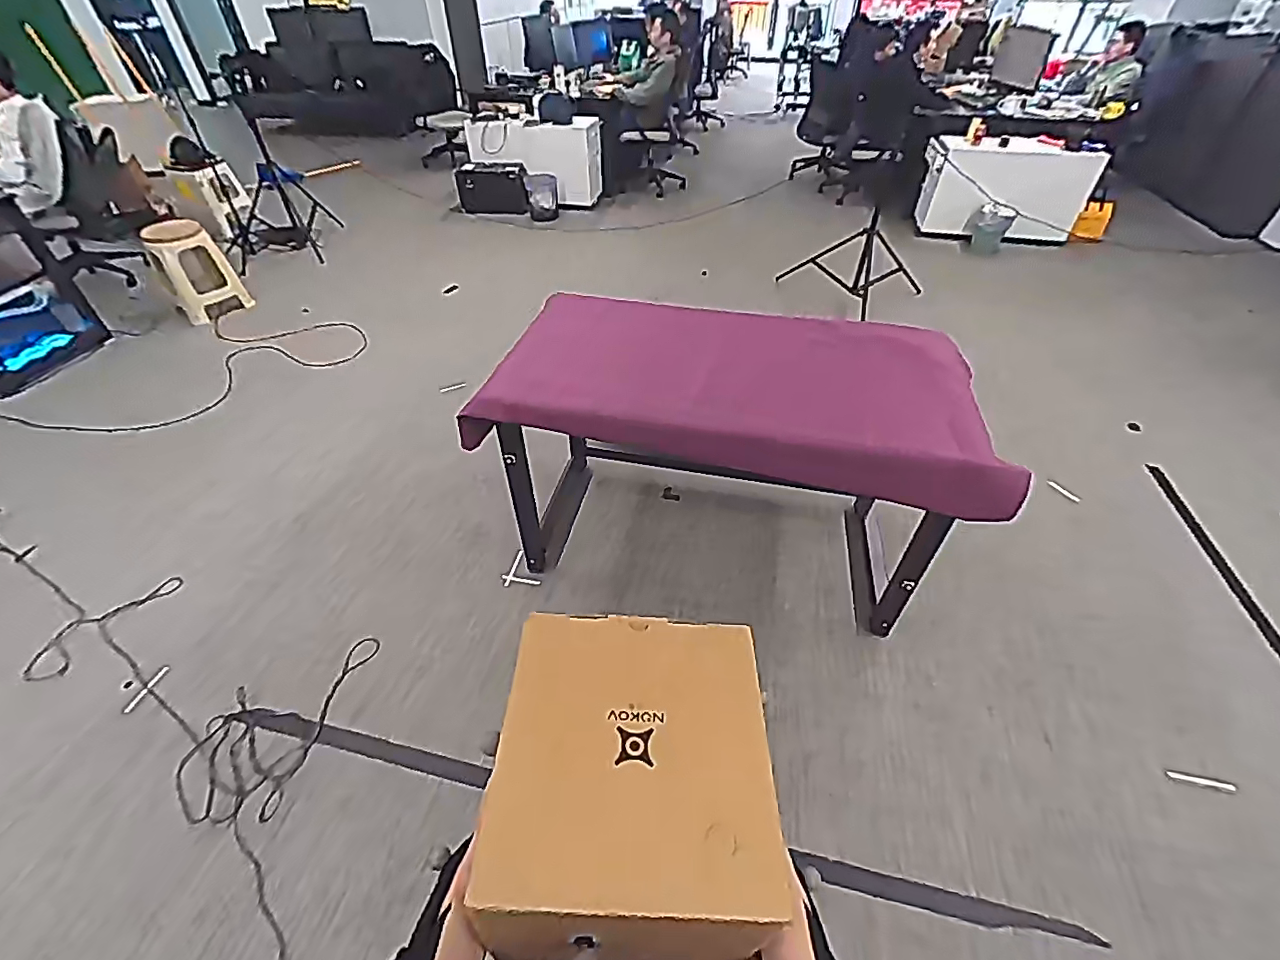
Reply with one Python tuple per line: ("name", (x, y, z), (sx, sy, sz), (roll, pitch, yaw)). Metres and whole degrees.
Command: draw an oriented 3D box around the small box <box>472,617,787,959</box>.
("small box", (-0.007, 0.223, 0.388), (0.168, 0.176, 0.179), (4, 39, -2))
